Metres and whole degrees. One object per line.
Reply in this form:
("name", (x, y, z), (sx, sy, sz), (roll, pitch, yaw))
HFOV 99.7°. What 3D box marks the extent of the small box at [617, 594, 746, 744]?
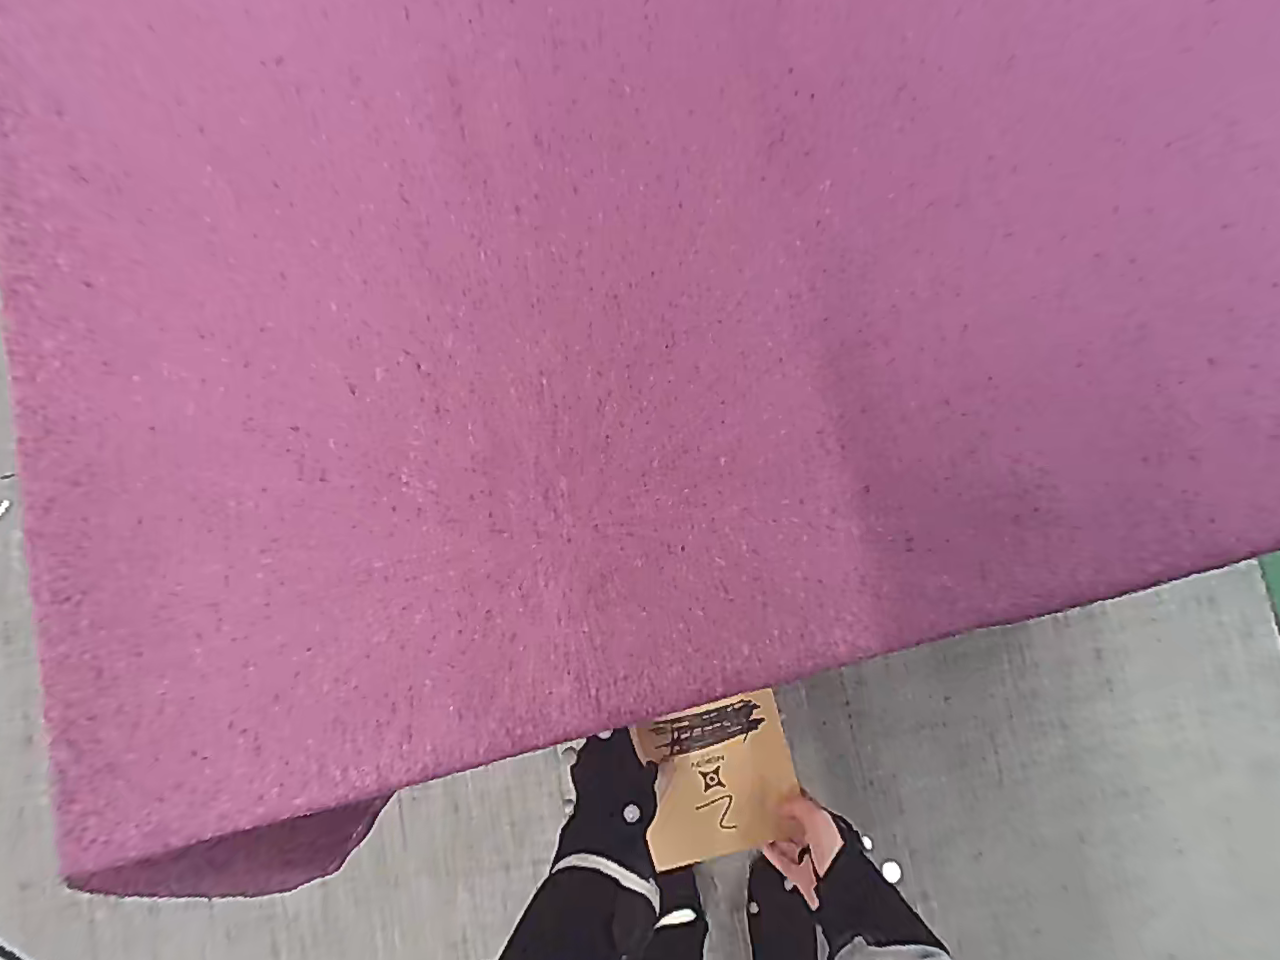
("small box", (0.059, 0.290, 0.864), (0.168, 0.176, 0.179), (-10, 83, -3))
